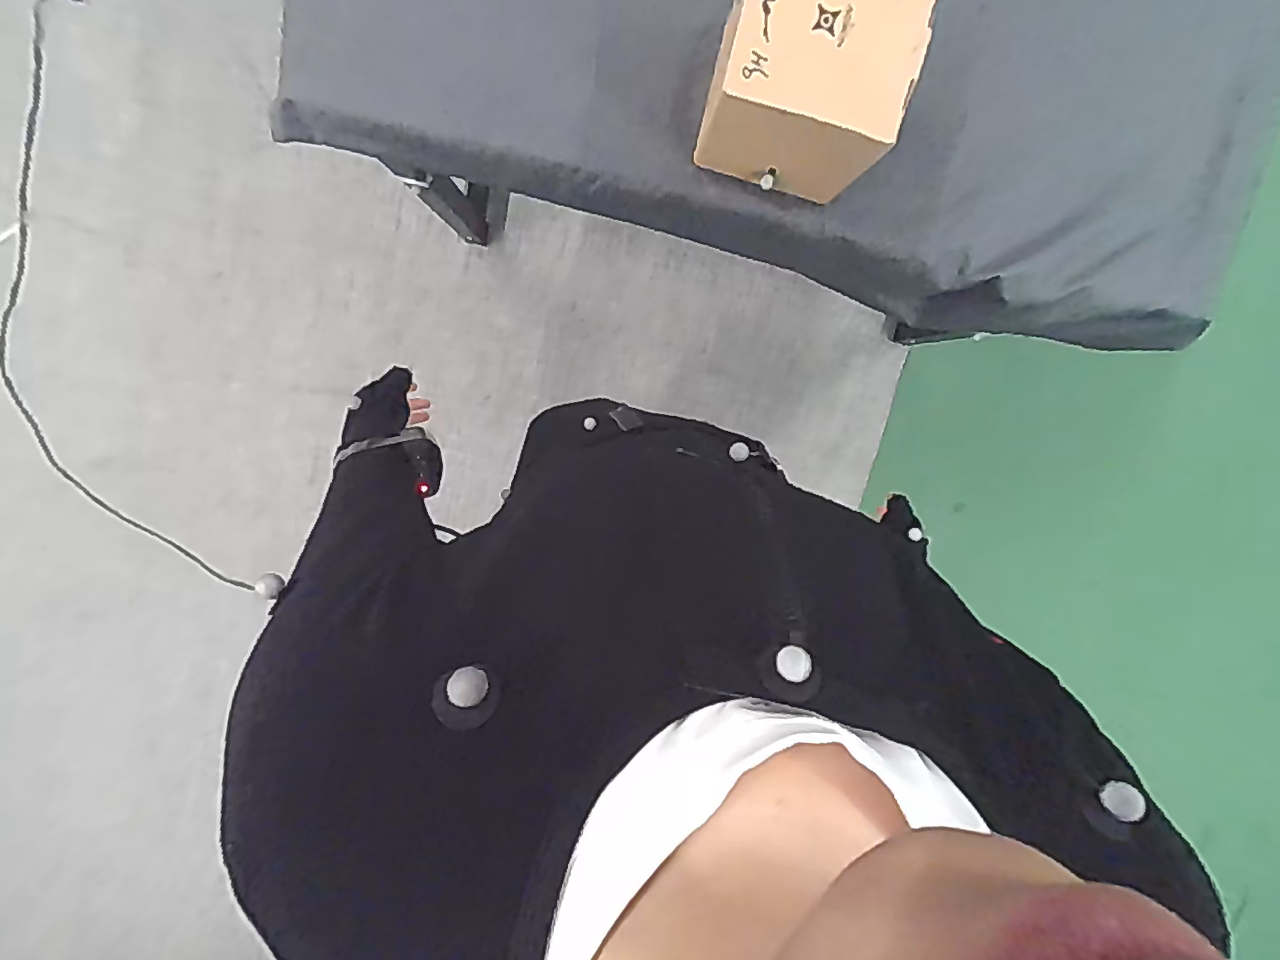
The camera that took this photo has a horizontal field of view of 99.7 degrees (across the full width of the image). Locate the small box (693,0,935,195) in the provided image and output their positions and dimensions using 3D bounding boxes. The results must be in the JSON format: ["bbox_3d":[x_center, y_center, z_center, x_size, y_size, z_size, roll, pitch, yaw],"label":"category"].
[{"bbox_3d":[0.171,-0.431,0.577,0.179,0.176,0.168,13,98,-6],"label":"small box"}]
